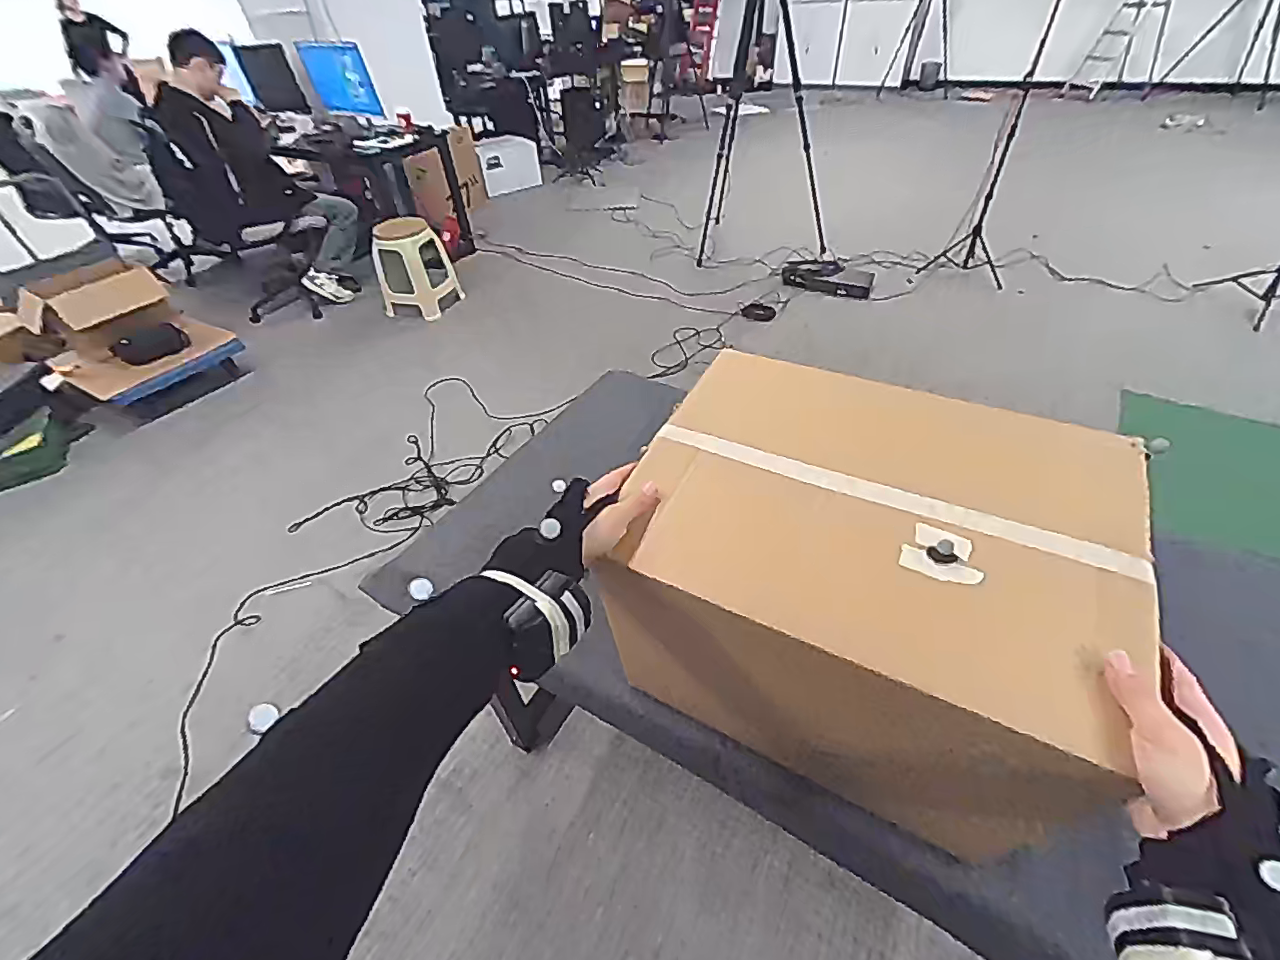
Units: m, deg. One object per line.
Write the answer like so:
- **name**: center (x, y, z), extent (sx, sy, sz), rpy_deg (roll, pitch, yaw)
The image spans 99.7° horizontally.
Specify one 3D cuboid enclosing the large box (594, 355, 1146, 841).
- **large box**: center (0.213, 0.109, 0.593), extent (0.408, 0.320, 0.320), rpy_deg (19, 54, 23)
